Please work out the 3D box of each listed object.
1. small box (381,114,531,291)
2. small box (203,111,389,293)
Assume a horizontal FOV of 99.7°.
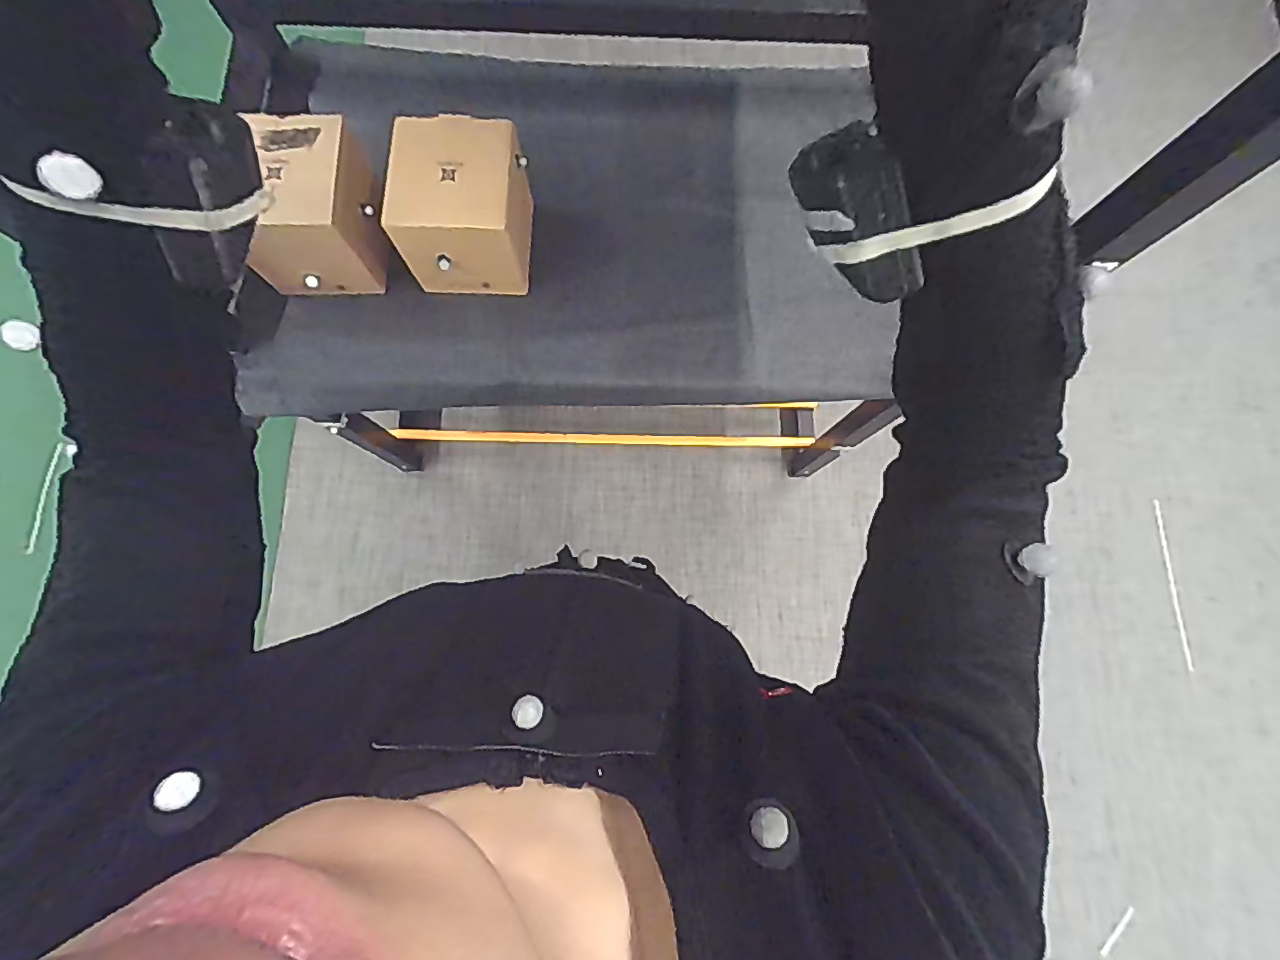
[{"bbox_3d":[-0.259,-0.400,0.804,0.168,0.176,0.179,1,77,-2],"label":"small box"},{"bbox_3d":[-0.486,-0.399,0.794,0.168,0.176,0.179,-1,78,-2],"label":"small box"}]
